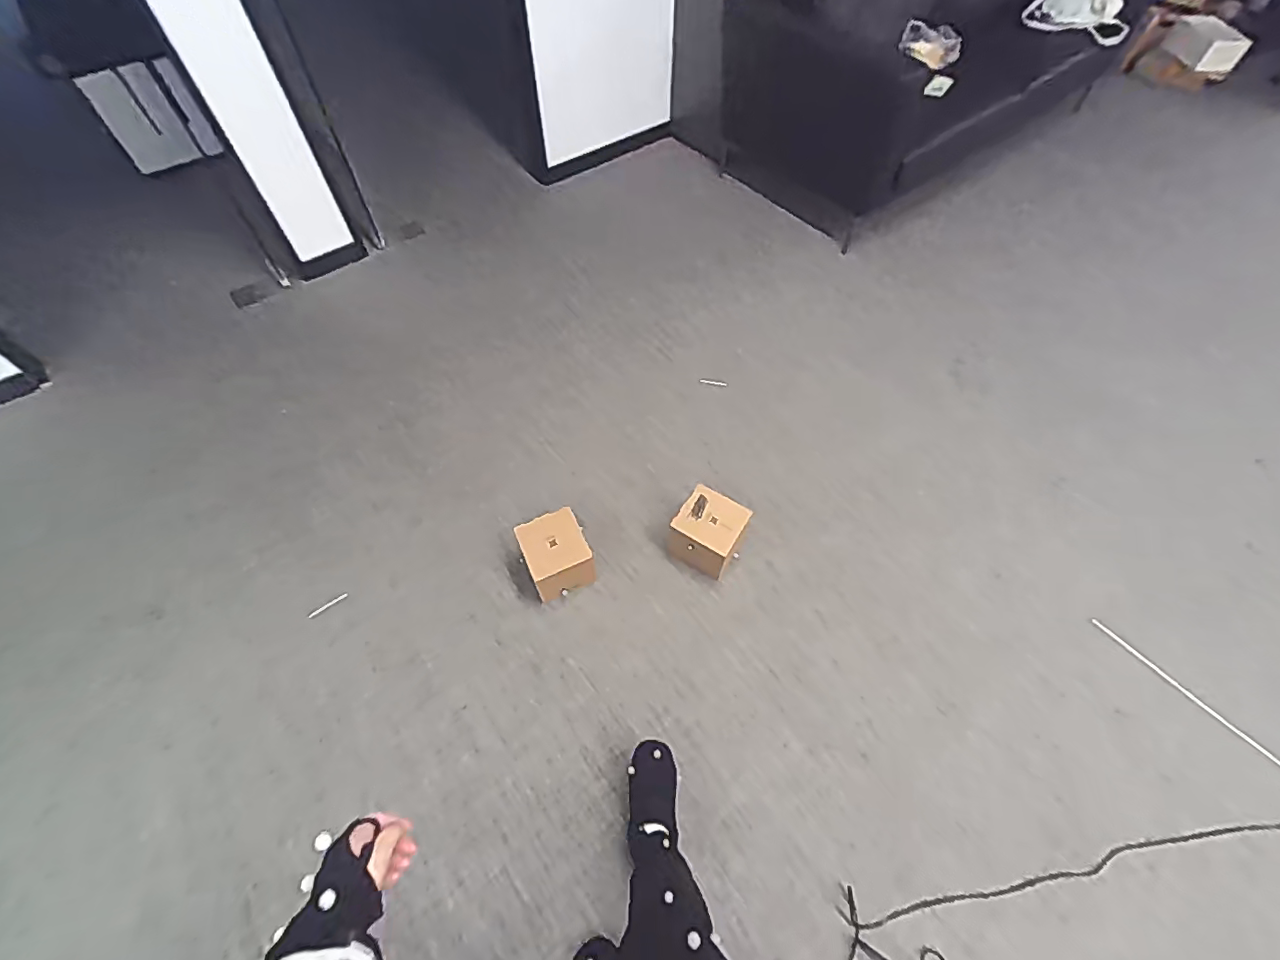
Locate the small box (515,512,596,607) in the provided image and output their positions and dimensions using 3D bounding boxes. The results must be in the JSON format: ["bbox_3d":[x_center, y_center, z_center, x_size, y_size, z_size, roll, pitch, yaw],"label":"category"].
[{"bbox_3d":[-0.233,0.224,1.505,0.168,0.176,0.179,-22,59,-14],"label":"small box"}]

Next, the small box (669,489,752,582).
[{"bbox_3d":[0.195,0.164,1.547,0.179,0.176,0.168,29,61,17],"label":"small box"}]
